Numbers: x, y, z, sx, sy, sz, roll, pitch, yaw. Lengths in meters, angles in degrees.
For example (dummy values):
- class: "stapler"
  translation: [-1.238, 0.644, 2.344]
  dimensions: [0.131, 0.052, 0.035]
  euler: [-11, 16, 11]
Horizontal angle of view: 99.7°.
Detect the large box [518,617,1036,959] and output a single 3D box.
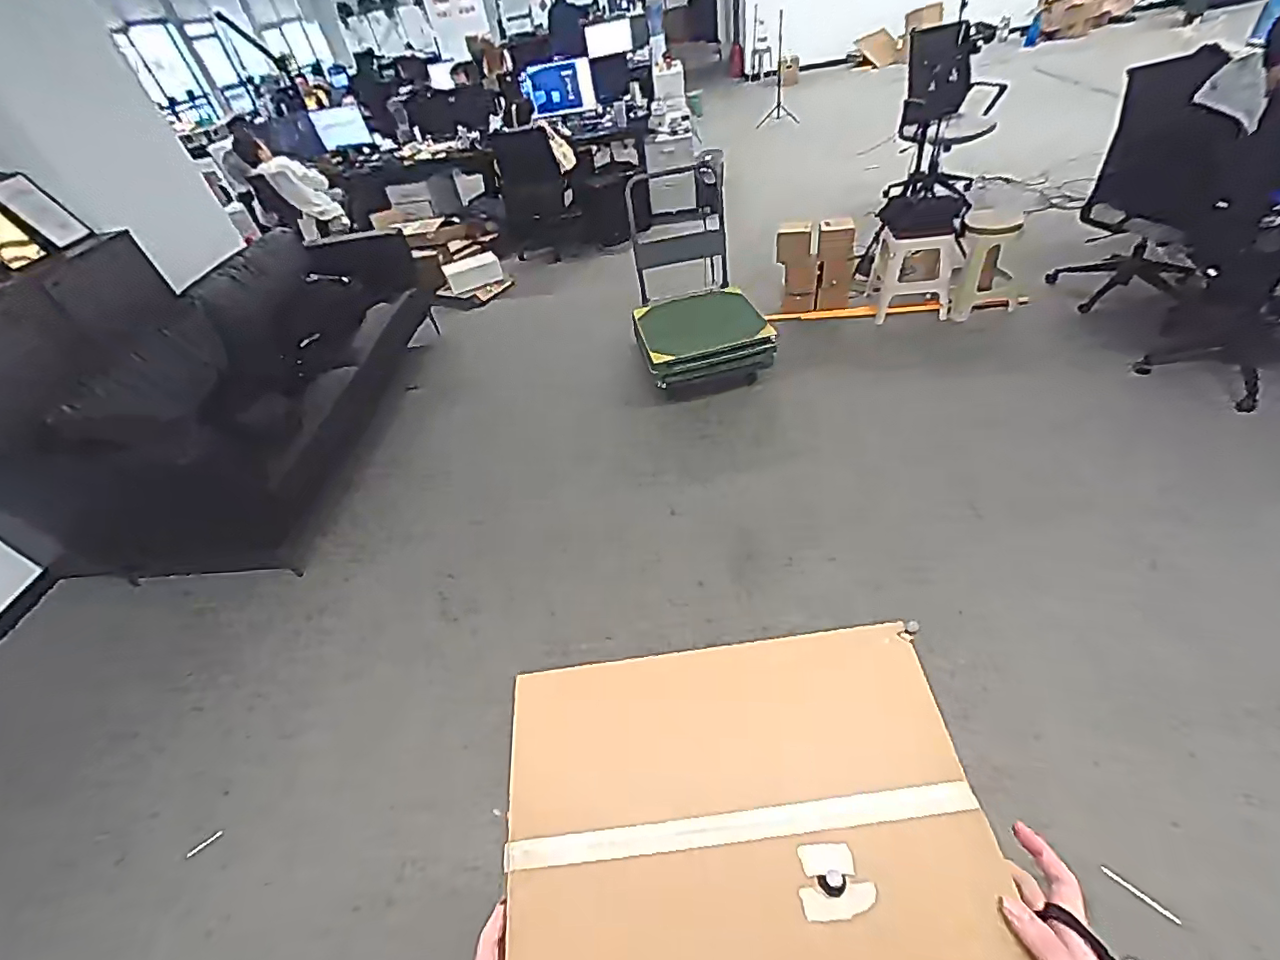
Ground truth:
- class: "large box"
  translation: [0.101, 0.385, 0.600]
  dimensions: [0.408, 0.320, 0.320]
  euler: [-9, 53, 1]
